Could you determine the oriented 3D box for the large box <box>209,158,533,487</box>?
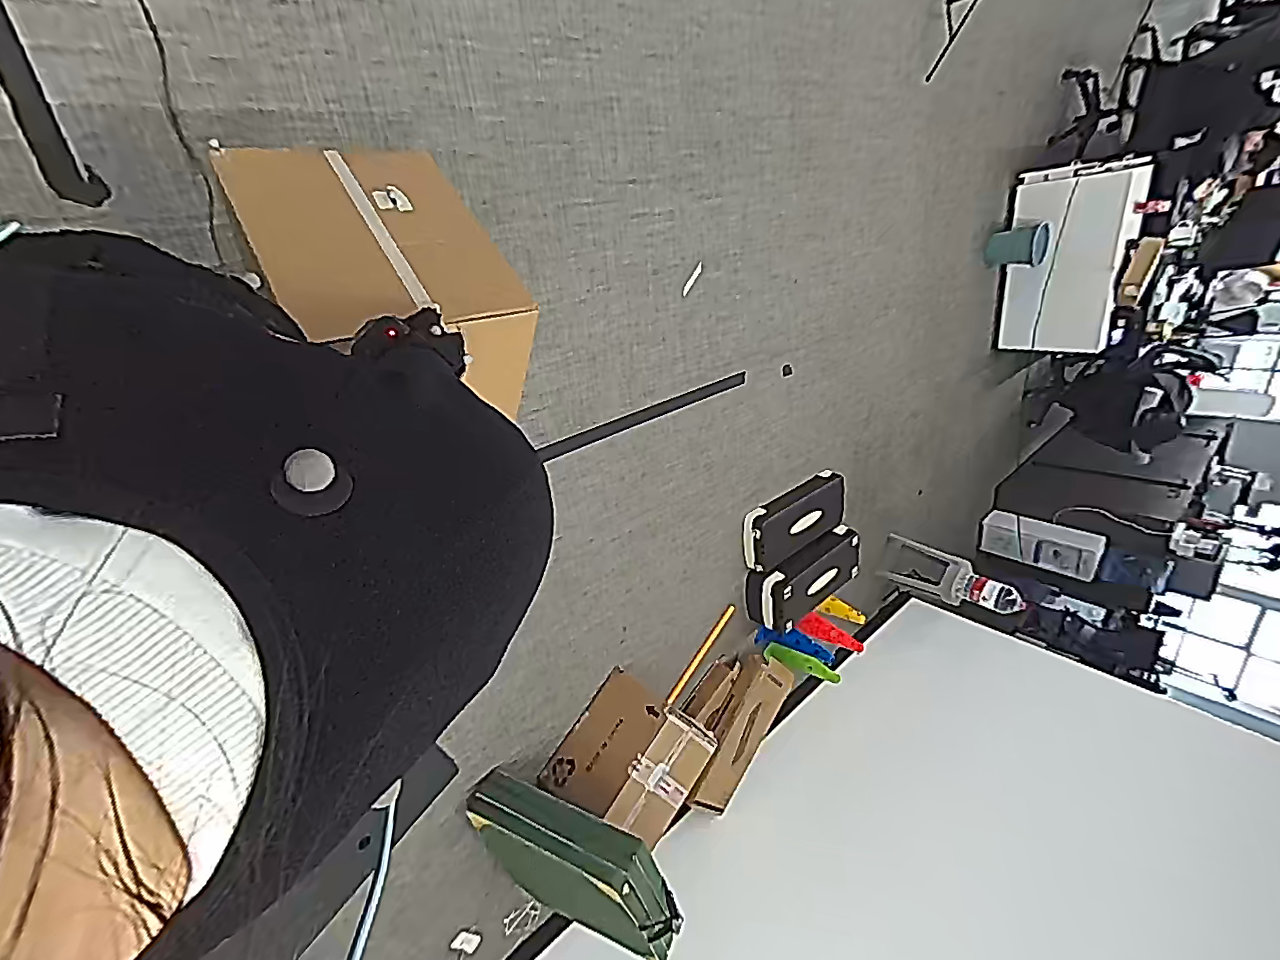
[{"bbox_3d":[-0.429,-0.264,0.897,0.320,0.408,0.320,-22,155,-35],"label":"large box"}]
